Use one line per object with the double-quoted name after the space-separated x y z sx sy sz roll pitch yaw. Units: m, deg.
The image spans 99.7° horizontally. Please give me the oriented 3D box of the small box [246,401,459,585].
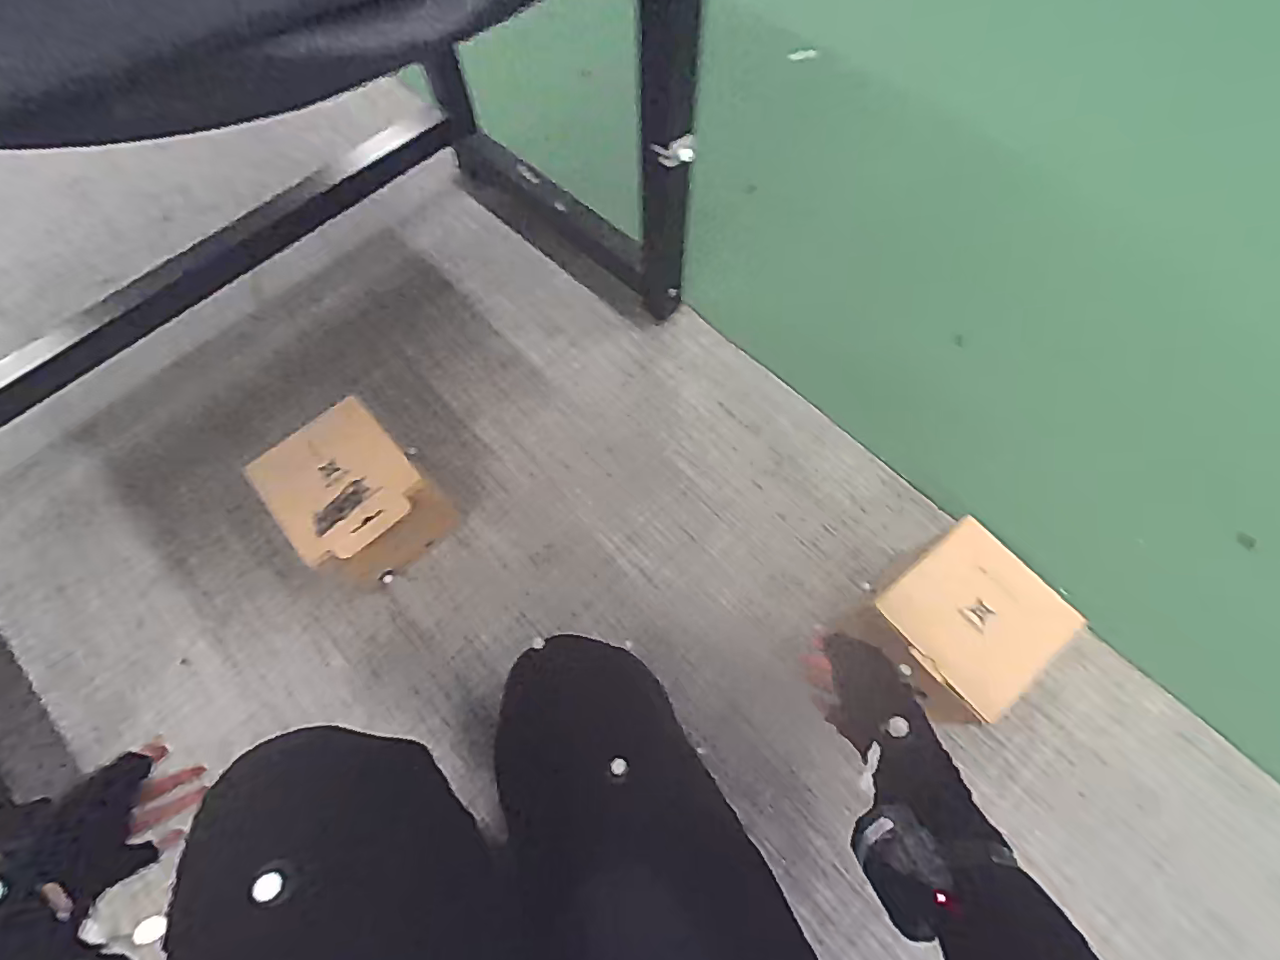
-0.387 0.030 0.760 0.168 0.176 0.179 -41 71 -14 "small box"
